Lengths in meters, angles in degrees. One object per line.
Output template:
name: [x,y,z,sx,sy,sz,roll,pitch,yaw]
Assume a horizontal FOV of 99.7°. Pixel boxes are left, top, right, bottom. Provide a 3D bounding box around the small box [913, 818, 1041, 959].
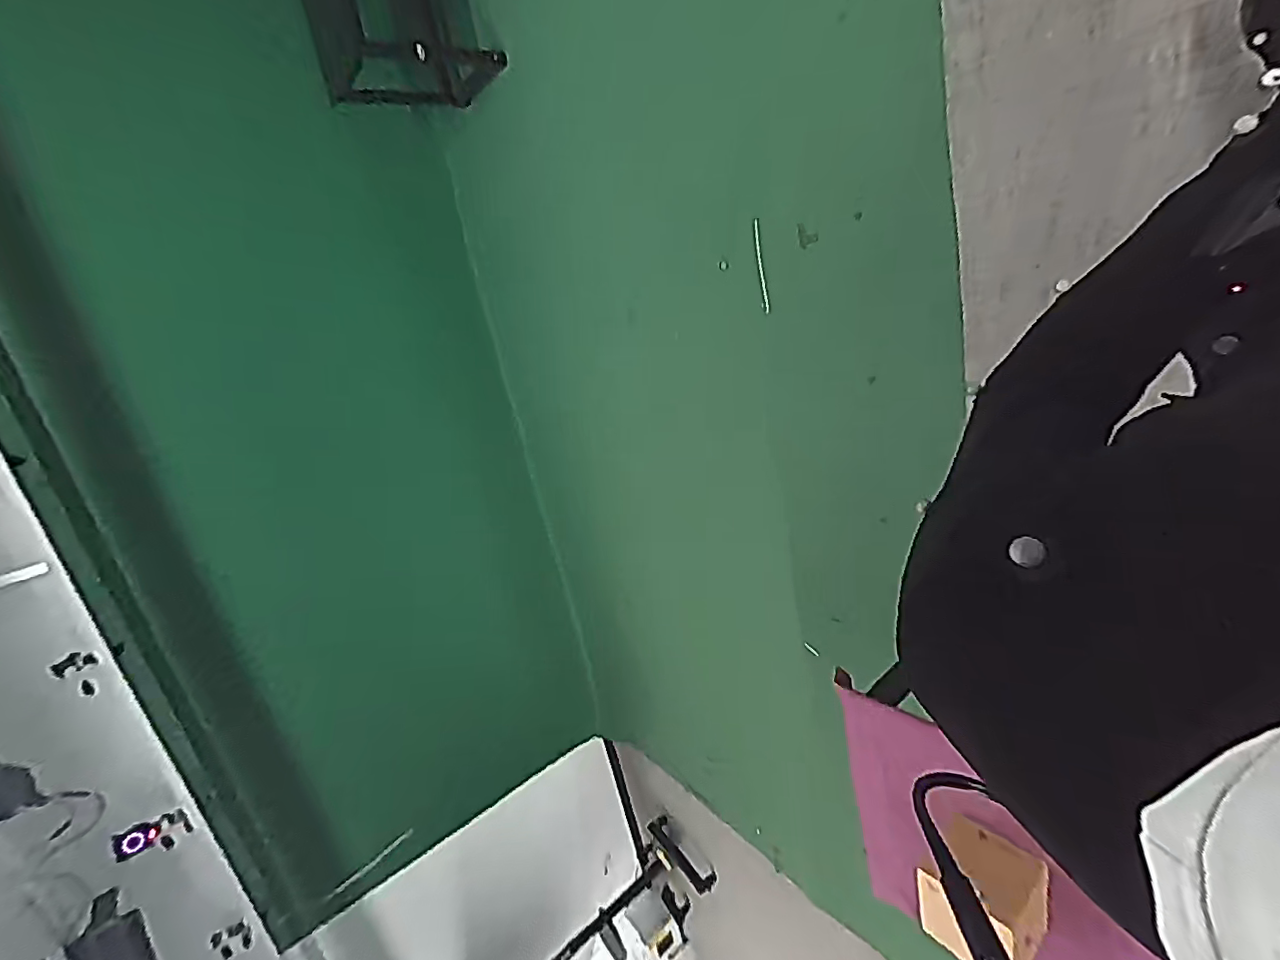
small box: [0.658,0.820,1.053,0.168,0.176,0.179,9,117,51]
